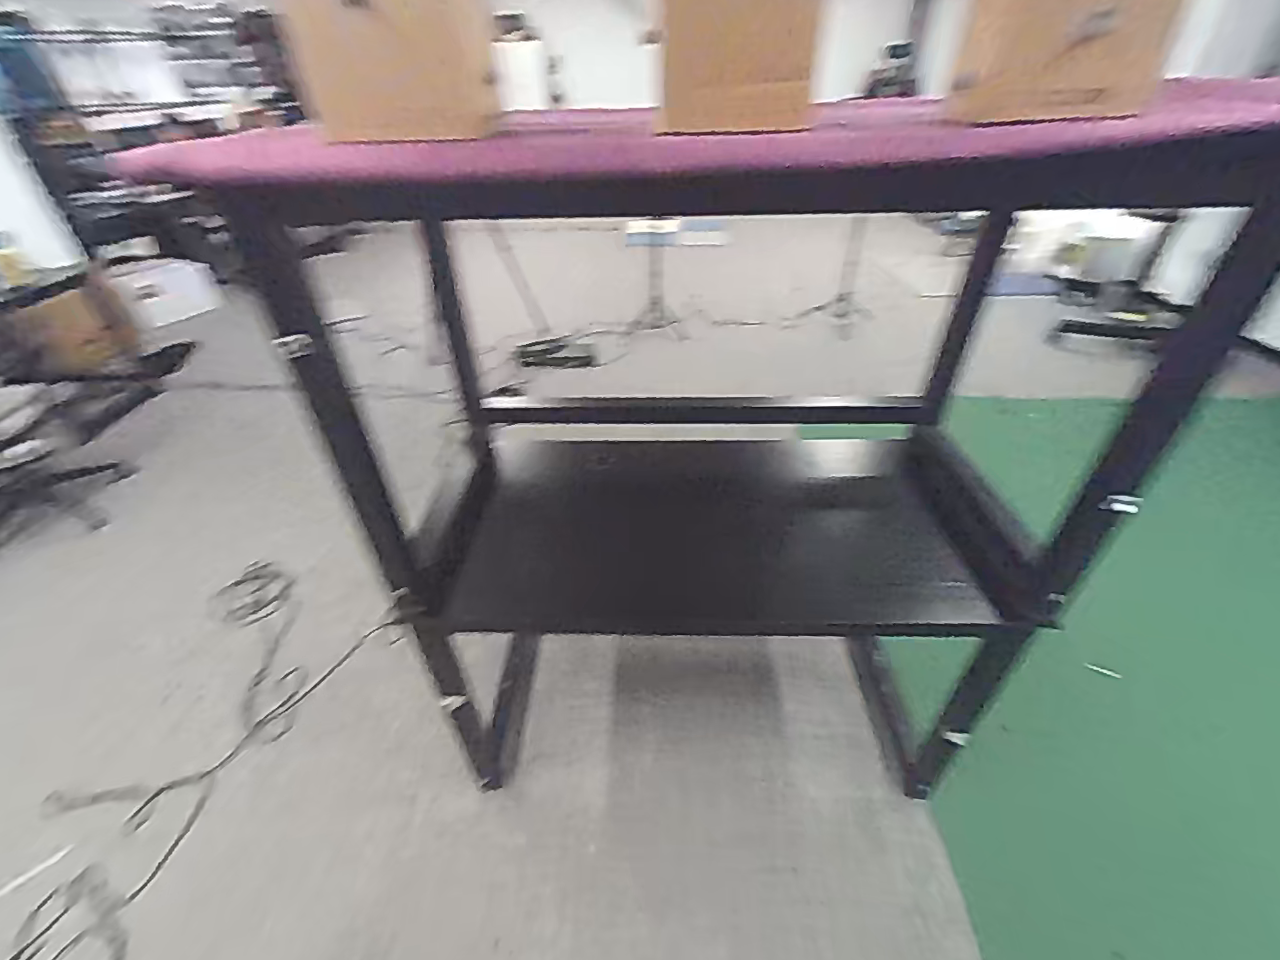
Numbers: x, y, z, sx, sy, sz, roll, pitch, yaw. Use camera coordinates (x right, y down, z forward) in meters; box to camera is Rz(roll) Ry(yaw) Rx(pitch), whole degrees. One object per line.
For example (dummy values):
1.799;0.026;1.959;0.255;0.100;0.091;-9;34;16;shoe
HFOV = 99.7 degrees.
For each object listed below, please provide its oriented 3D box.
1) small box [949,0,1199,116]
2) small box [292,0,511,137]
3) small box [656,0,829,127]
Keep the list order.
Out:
0.468;-0.504;0.590;0.168;0.176;0.179;3;36;9;small box
-0.257;-0.487;0.599;0.179;0.176;0.168;0;39;2;small box
0.106;-0.498;0.603;0.179;0.176;0.168;0;36;2;small box
